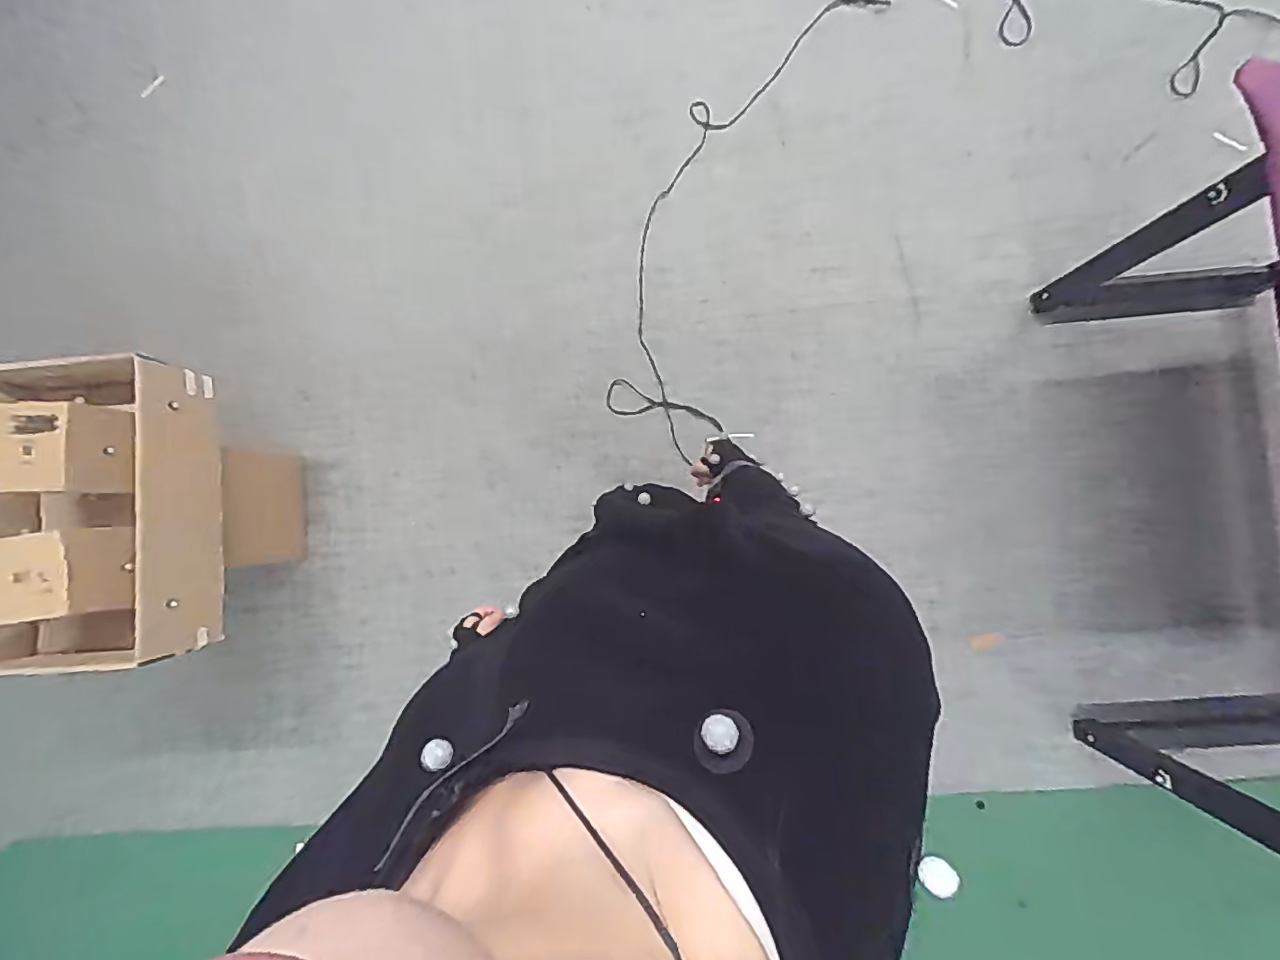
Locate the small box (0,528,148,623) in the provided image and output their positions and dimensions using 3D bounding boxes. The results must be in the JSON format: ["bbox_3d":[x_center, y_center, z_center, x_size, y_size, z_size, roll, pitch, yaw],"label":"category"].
[{"bbox_3d":[-1.155,0.189,1.093,0.179,0.176,0.168,-8,85,3],"label":"small box"}]
